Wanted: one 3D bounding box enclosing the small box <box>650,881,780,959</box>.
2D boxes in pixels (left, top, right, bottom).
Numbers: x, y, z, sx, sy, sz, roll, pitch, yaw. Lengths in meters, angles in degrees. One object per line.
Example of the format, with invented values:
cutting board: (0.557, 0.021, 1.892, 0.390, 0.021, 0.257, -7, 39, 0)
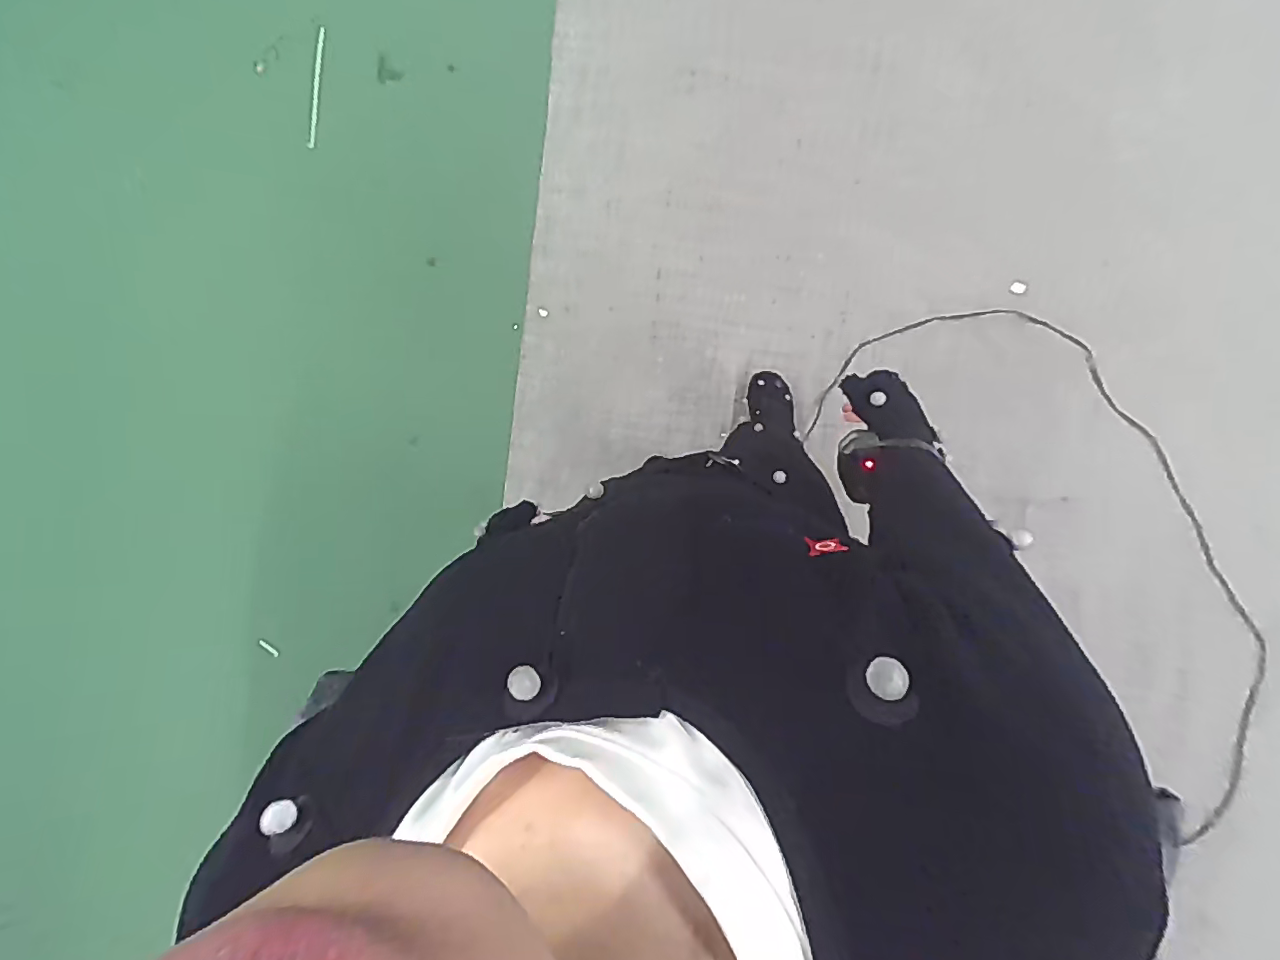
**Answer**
small box: (0.092, 0.682, 0.713, 0.168, 0.176, 0.179, 7, 96, 7)
